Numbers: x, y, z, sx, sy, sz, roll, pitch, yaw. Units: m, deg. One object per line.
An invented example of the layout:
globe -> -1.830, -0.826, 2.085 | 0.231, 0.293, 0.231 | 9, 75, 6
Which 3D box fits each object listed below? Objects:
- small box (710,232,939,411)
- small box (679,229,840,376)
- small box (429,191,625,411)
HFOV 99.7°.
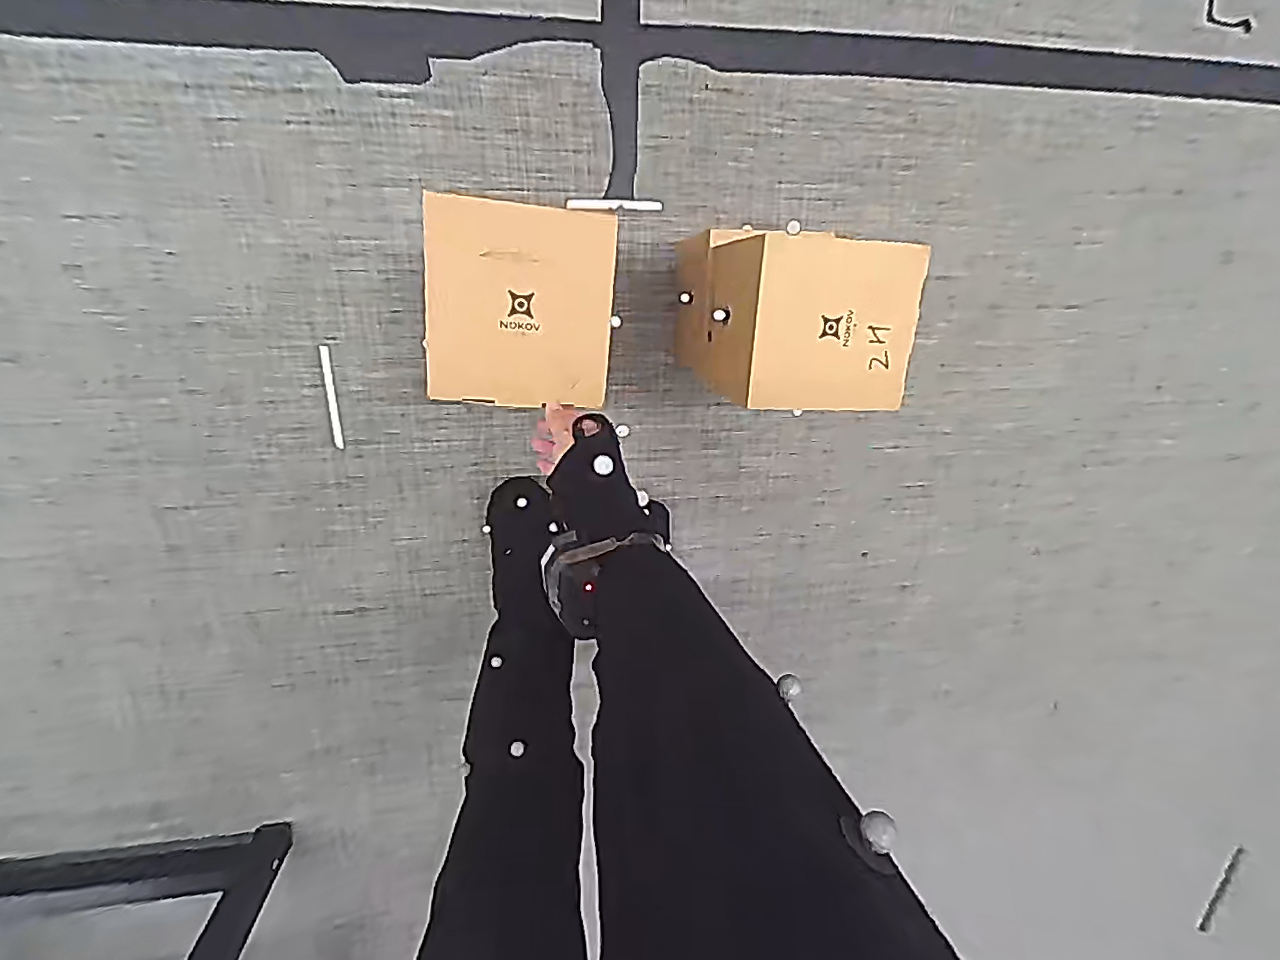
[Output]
small box -> 0.186, -0.175, 0.606 | 0.179, 0.176, 0.168 | -1, 110, -11
small box -> 0.153, -0.244, 0.752 | 0.168, 0.176, 0.179 | -3, 109, -10
small box -> -0.115, -0.176, 0.555 | 0.168, 0.176, 0.179 | 1, 107, -12
